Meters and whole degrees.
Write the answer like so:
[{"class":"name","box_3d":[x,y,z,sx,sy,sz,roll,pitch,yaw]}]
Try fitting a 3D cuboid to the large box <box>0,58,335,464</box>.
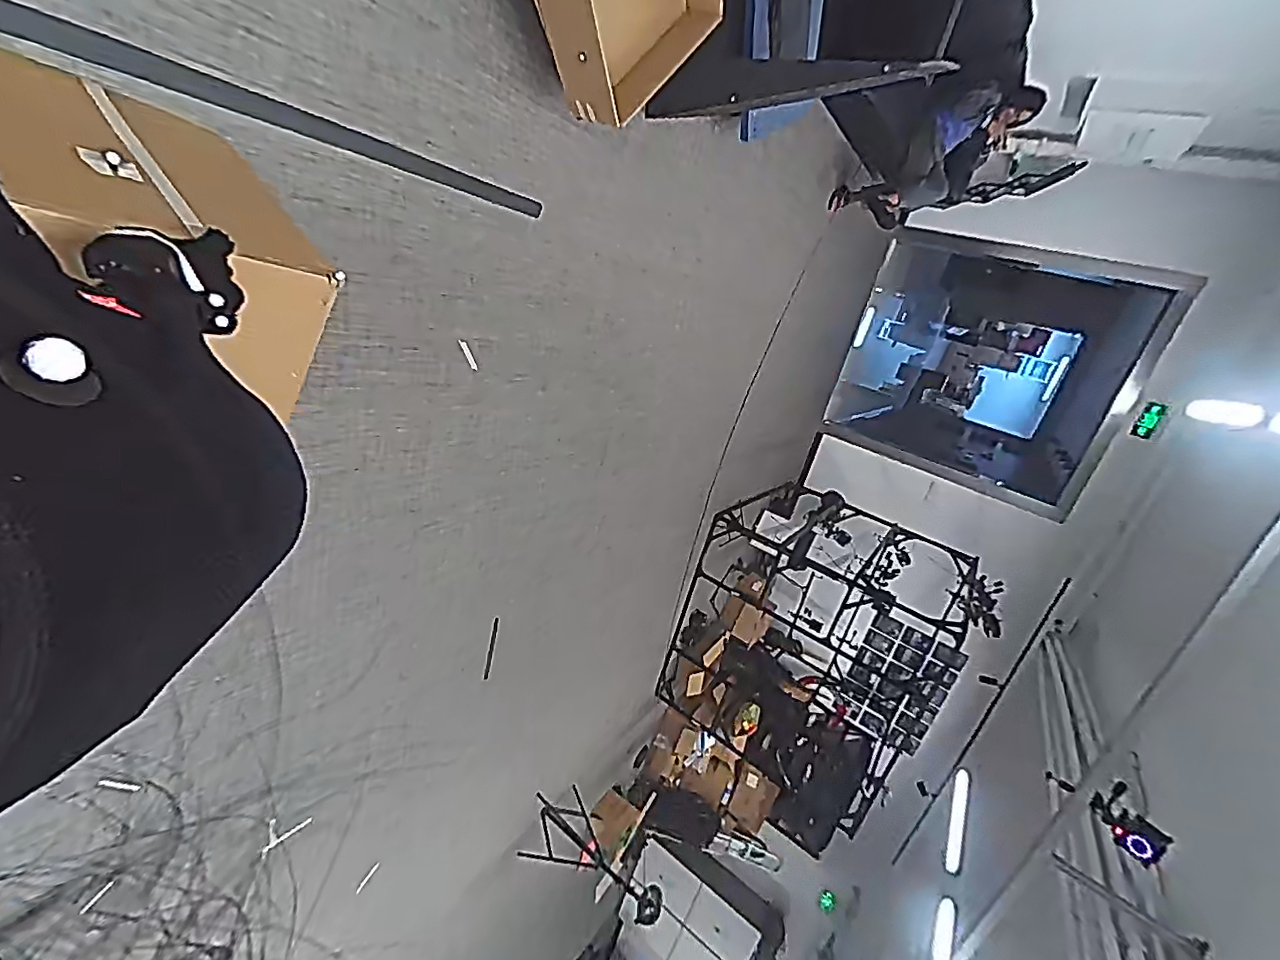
[{"class":"large box","box_3d":[-0.704,-0.274,0.721,0.320,0.408,0.320,-52,161,25]}]
